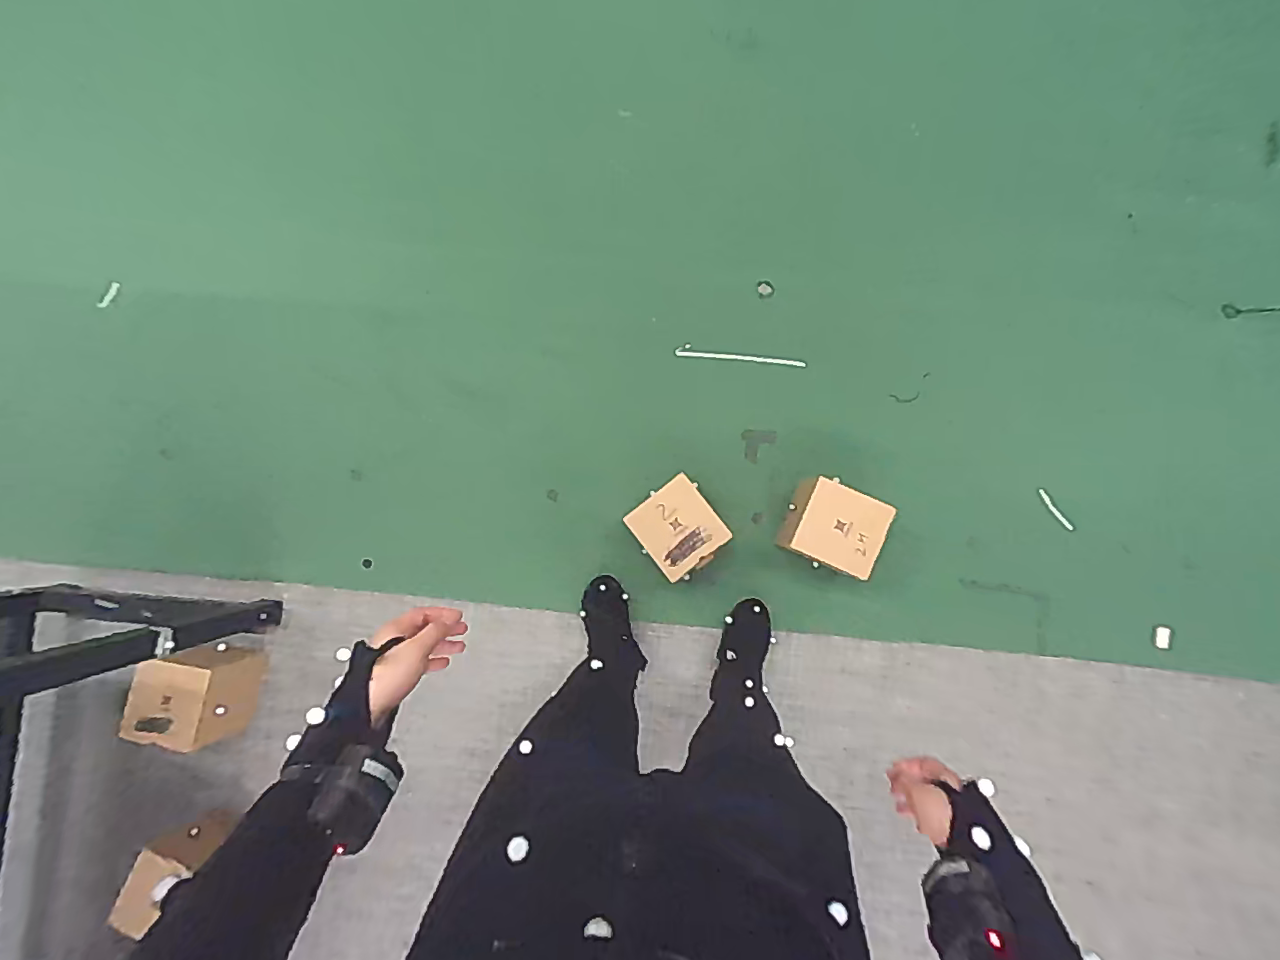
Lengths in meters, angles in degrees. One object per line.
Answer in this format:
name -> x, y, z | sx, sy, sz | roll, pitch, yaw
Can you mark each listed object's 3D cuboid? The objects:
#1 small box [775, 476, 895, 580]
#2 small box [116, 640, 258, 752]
small box -> 0.422, 0.106, 1.205 | 0.179, 0.176, 0.168 | 24, 88, 2
small box -> -1.013, 0.480, 1.224 | 0.168, 0.176, 0.179 | 10, 86, 2
